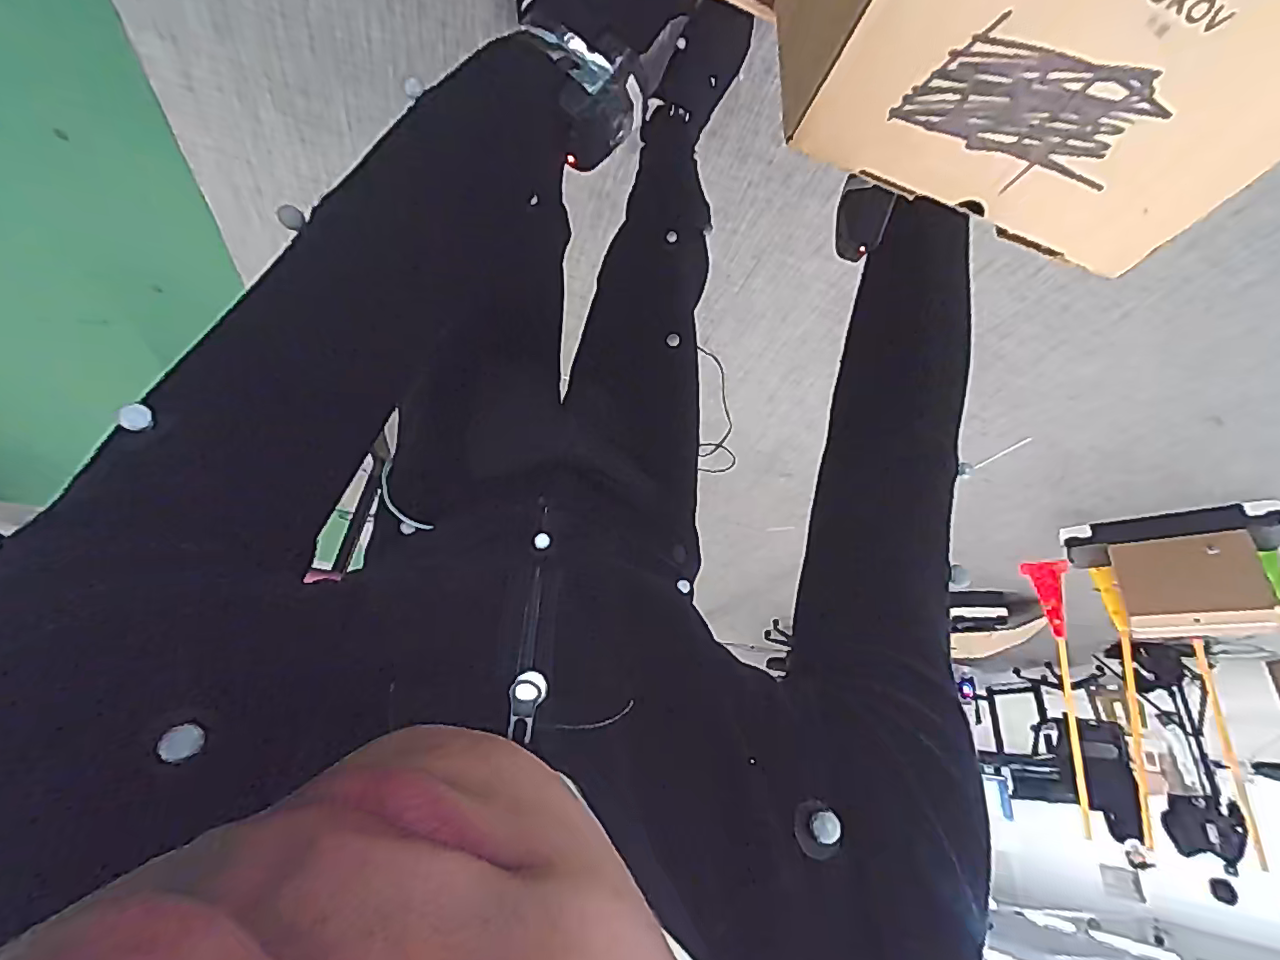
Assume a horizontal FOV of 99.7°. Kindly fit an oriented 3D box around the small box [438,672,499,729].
[{"bbox_3d":[-0.611,0.797,1.948,0.179,0.176,0.168,11,151,-9],"label":"small box"}]

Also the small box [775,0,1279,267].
[{"bbox_3d":[0.162,-0.218,0.185,0.168,0.176,0.179,13,151,-14],"label":"small box"}]
